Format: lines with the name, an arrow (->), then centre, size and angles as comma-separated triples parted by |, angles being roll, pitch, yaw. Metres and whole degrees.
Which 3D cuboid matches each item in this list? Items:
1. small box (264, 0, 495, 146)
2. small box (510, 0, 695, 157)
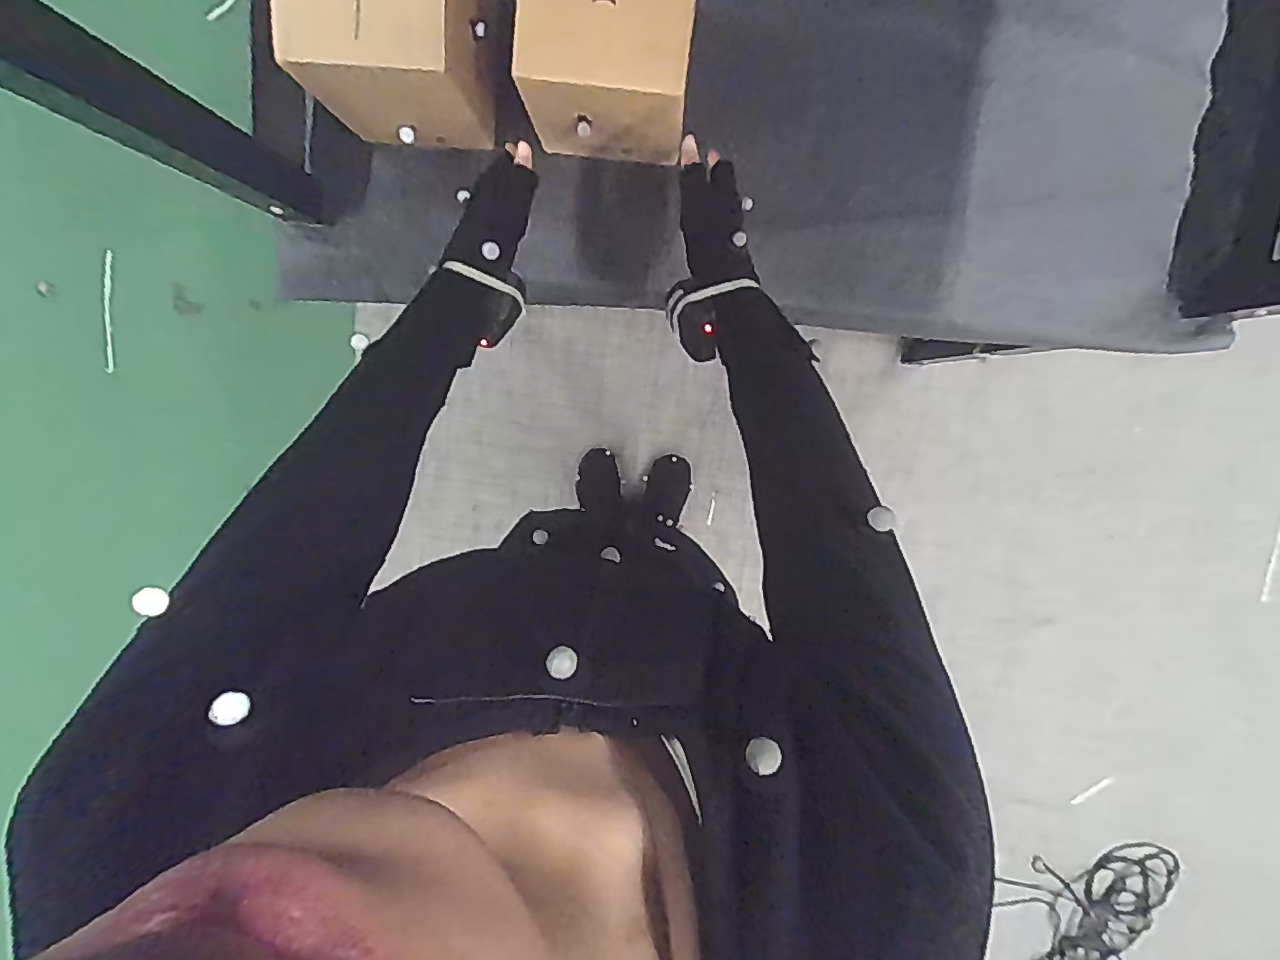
small box -> -0.257, -0.489, 0.569 | 0.168, 0.176, 0.179 | 5, 99, 0
small box -> -0.030, -0.472, 0.570 | 0.168, 0.176, 0.179 | 6, 98, 0
